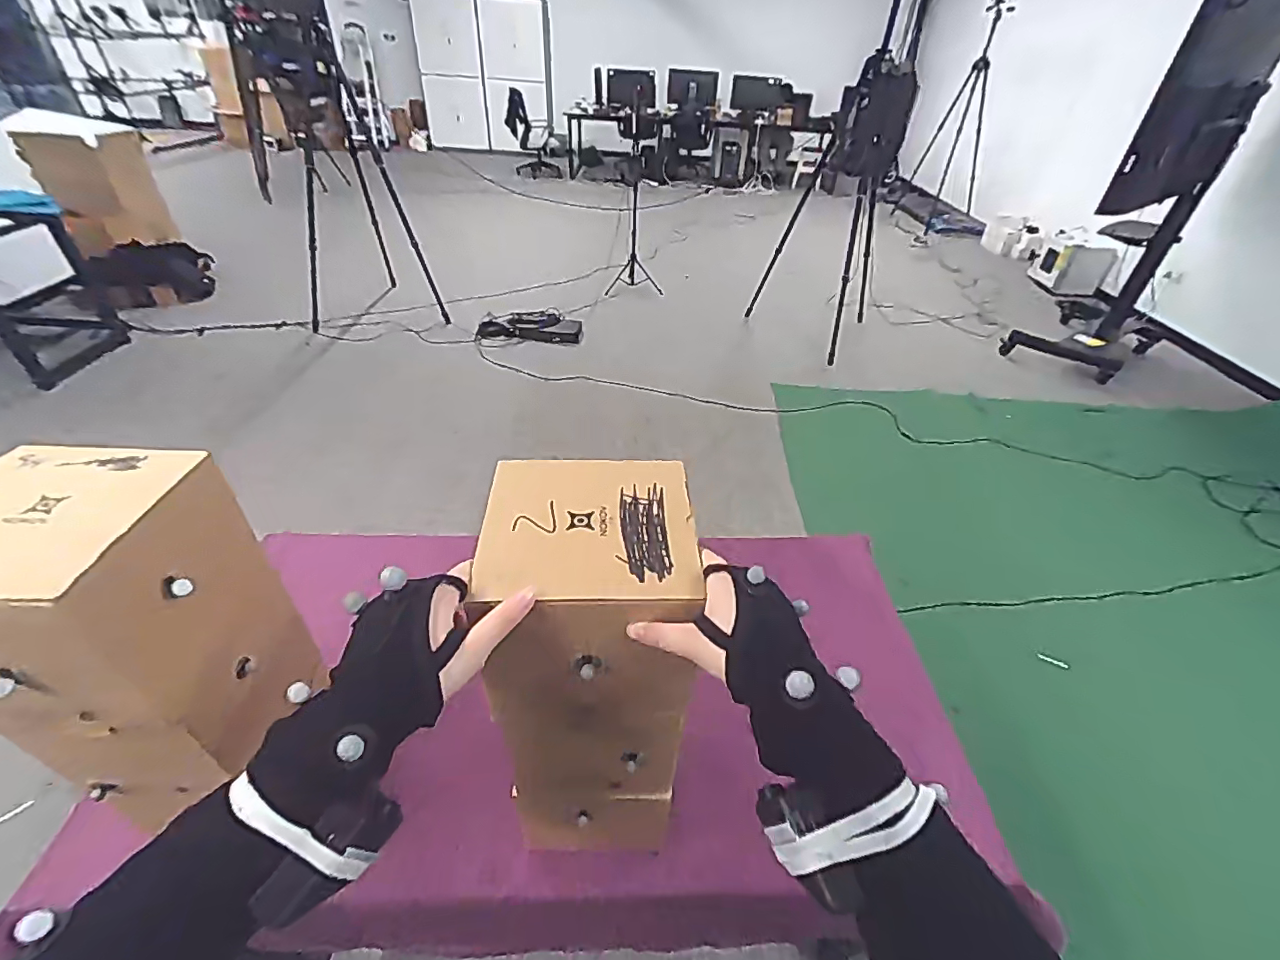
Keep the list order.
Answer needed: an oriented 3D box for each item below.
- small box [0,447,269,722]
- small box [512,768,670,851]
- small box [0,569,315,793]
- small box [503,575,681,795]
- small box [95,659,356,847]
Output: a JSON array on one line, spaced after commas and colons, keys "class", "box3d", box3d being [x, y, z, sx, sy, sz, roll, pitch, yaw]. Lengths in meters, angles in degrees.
[{"class": "small box", "box3d": [-0.470, 0.091, 0.473, 0.168, 0.176, 0.179, 3, 40, -3]}, {"class": "small box", "box3d": [-0.055, 0.357, 0.697, 0.179, 0.176, 0.168, 2, 40, -1]}, {"class": "small box", "box3d": [-0.485, 0.214, 0.581, 0.168, 0.176, 0.179, 2, 37, -4]}, {"class": "small box", "box3d": [-0.048, 0.228, 0.600, 0.168, 0.176, 0.179, 2, 38, -3]}, {"class": "small box", "box3d": [-0.495, 0.343, 0.683, 0.179, 0.176, 0.168, 2, 39, -3]}]
